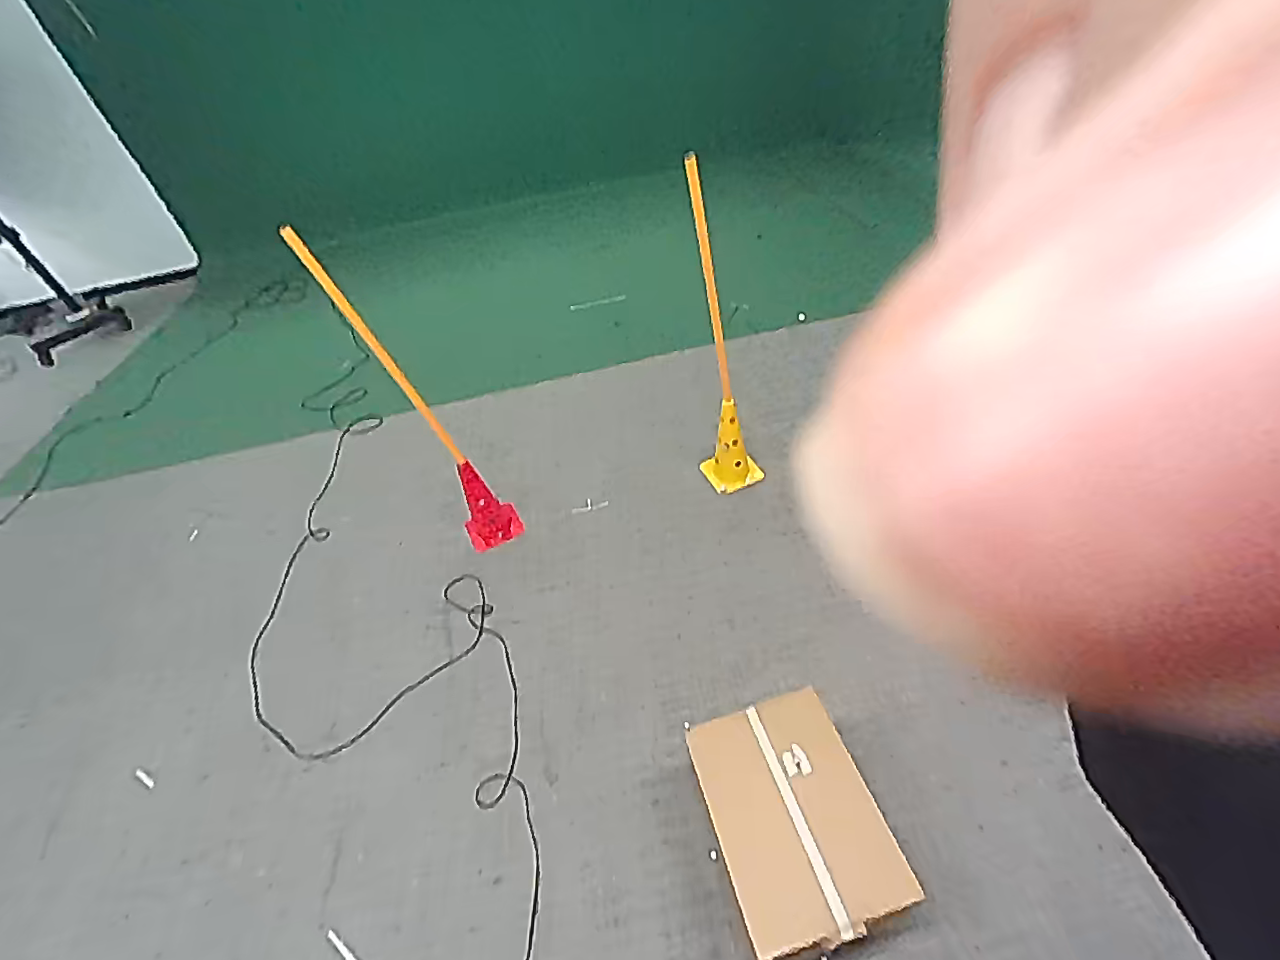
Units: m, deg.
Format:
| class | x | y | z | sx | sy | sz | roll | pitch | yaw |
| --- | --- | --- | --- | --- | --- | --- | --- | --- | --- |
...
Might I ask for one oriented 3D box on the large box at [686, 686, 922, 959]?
| class | x | y | z | sx | sy | sz | roll | pitch | yaw |
| --- | --- | --- | --- | --- | --- | --- | --- | --- | --- |
| large box | 0.323 | 0.741 | 1.169 | 0.320 | 0.320 | 0.408 | -16 | 42 | -6 |
